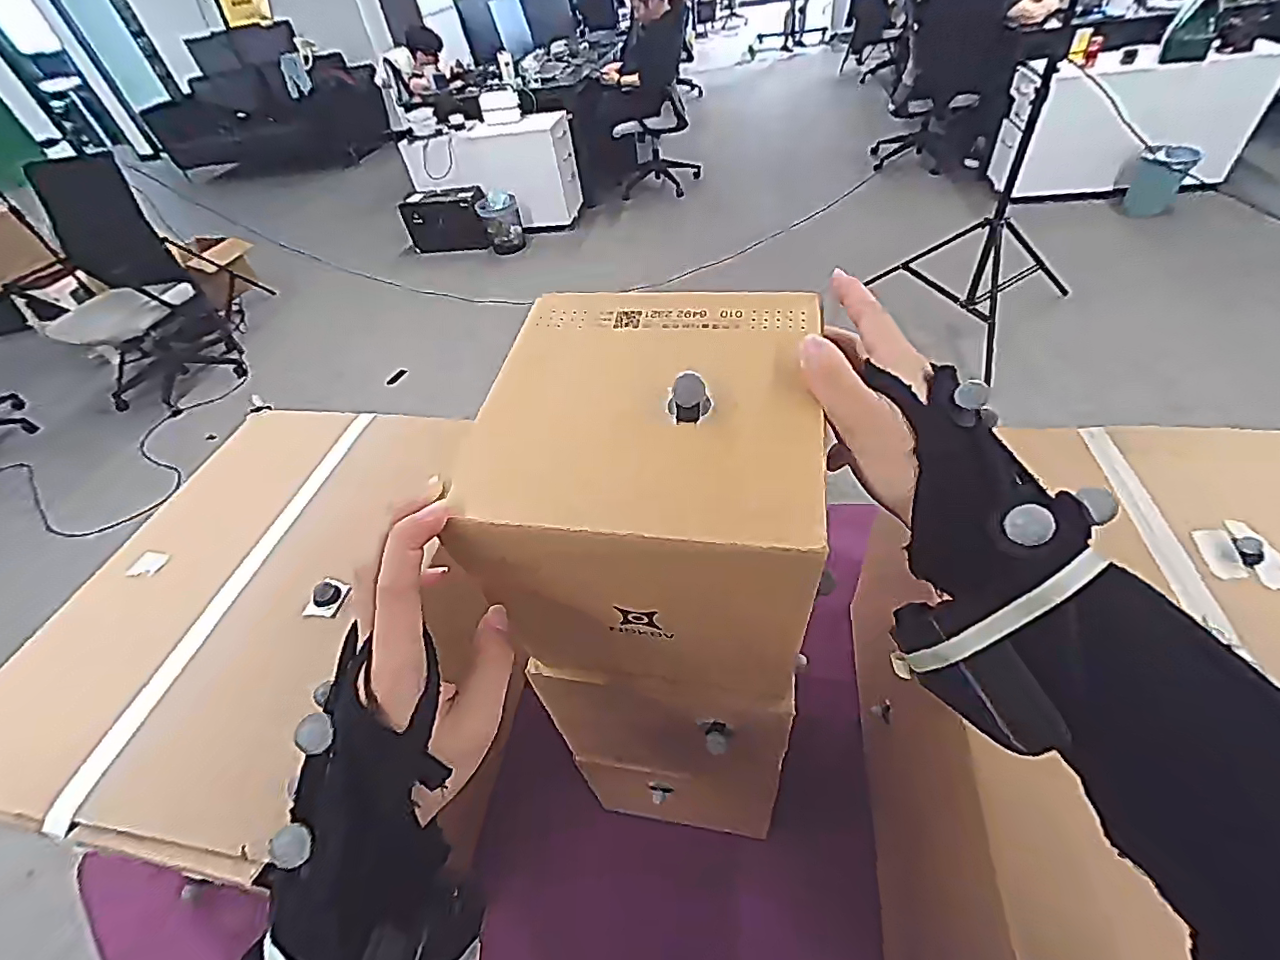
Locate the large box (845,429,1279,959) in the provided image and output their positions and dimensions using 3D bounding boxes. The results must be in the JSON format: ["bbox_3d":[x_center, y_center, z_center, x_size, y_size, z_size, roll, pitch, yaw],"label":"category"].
[{"bbox_3d":[0.370,0.205,0.448,0.320,0.320,0.408,2,45,10],"label":"large box"}]
